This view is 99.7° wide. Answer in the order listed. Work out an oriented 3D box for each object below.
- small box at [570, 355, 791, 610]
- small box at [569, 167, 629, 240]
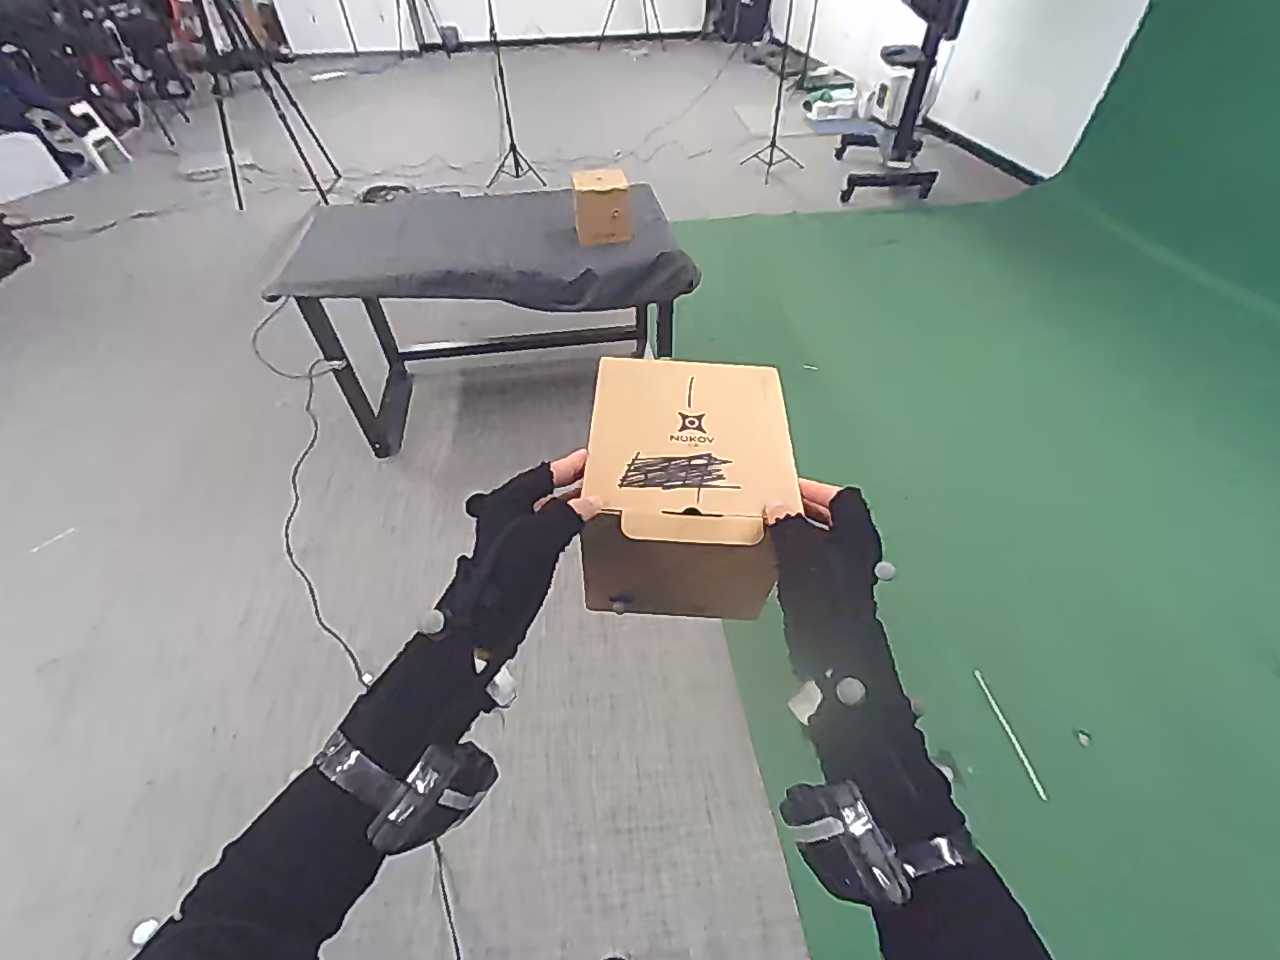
[{"bbox_3d":[0.031,0.007,0.507,0.168,0.176,0.179,4,50,-1],"label":"small box"},{"bbox_3d":[-0.130,-0.882,1.733,0.168,0.176,0.179,-8,46,-7],"label":"small box"}]
